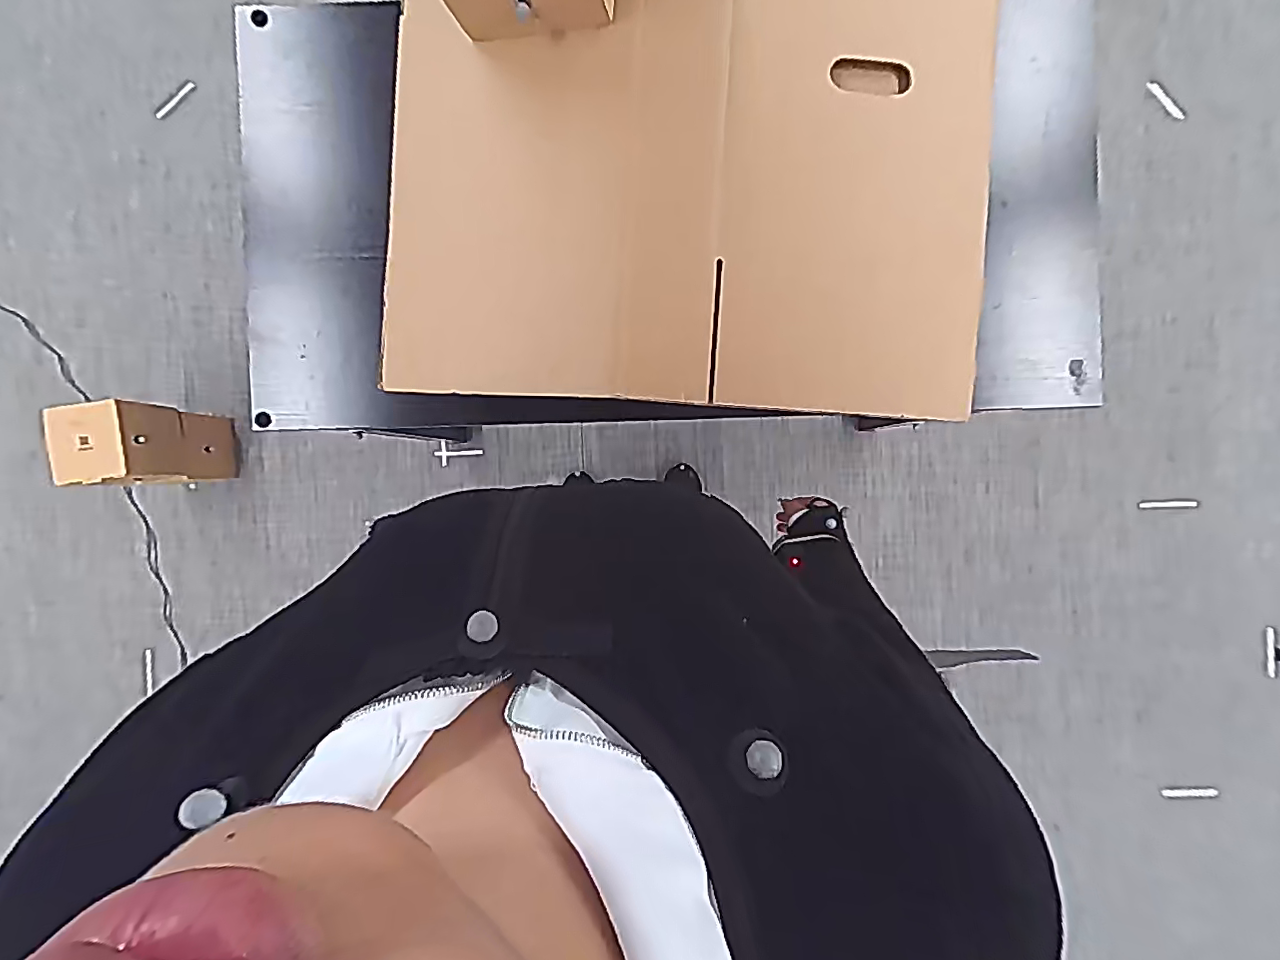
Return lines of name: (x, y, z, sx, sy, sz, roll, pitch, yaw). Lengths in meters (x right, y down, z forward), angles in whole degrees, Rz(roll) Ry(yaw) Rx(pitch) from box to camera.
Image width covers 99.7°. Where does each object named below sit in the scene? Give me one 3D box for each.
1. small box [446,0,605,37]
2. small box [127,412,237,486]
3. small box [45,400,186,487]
small box: (-0.125, -0.584, 0.529, 0.179, 0.176, 0.168, 5, 90, 13)
small box: (-1.218, -0.078, 1.437, 0.168, 0.176, 0.179, -6, 91, 1)
small box: (-1.221, -0.083, 1.274, 0.168, 0.176, 0.179, -8, 90, 0)
